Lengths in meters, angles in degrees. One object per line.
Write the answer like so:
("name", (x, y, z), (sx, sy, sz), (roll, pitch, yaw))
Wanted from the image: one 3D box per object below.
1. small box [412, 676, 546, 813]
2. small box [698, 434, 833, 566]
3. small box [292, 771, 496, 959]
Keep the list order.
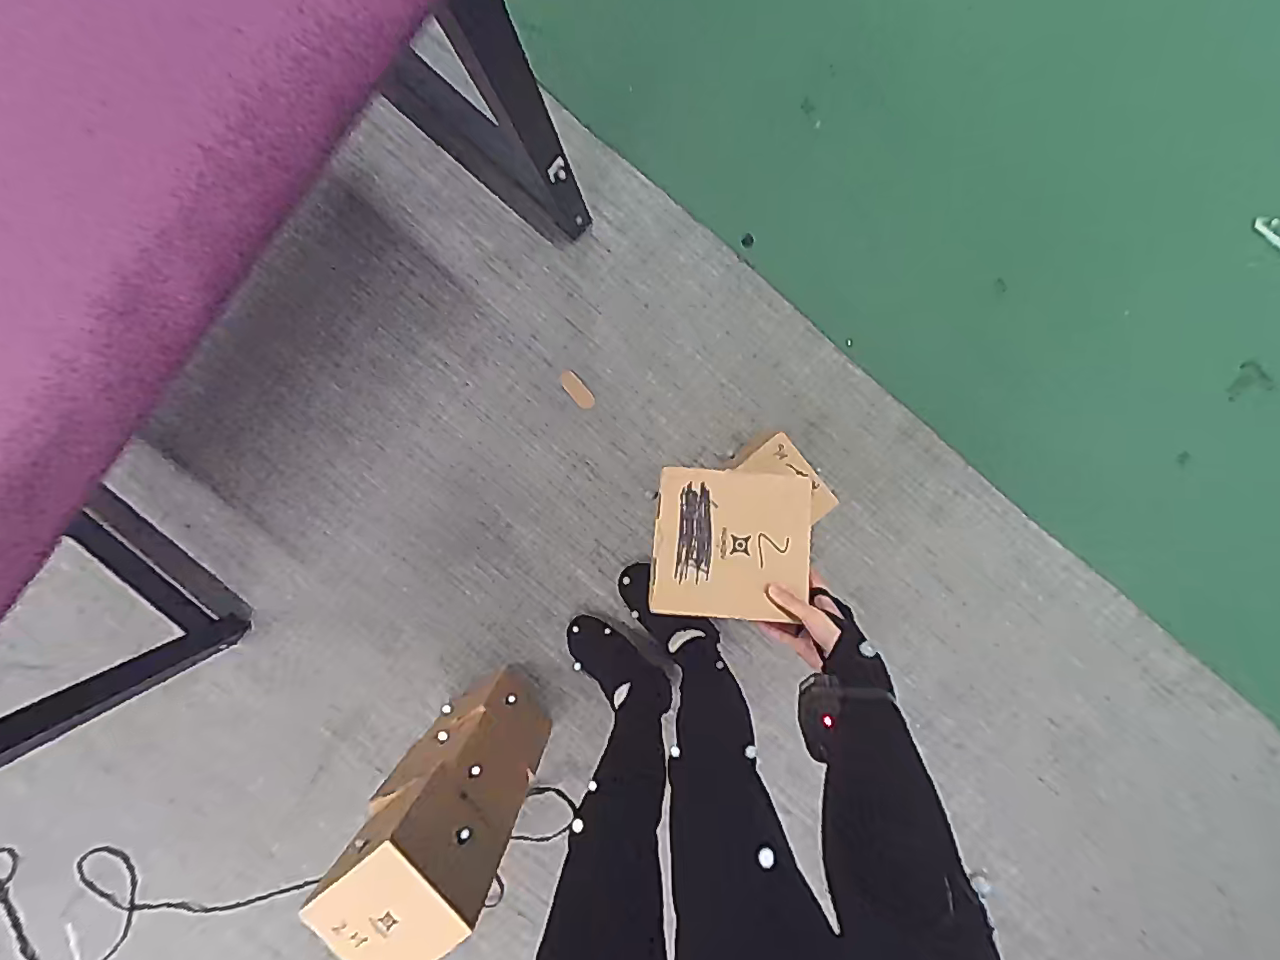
("small box", (-0.316, 0.527, 1.094), (0.168, 0.176, 0.179), (-33, 94, 6))
("small box", (0.225, 0.030, 1.017), (0.179, 0.176, 0.168), (-39, 94, 6))
("small box", (-0.329, 0.563, 0.770), (0.179, 0.176, 0.168), (-40, 92, 7))
